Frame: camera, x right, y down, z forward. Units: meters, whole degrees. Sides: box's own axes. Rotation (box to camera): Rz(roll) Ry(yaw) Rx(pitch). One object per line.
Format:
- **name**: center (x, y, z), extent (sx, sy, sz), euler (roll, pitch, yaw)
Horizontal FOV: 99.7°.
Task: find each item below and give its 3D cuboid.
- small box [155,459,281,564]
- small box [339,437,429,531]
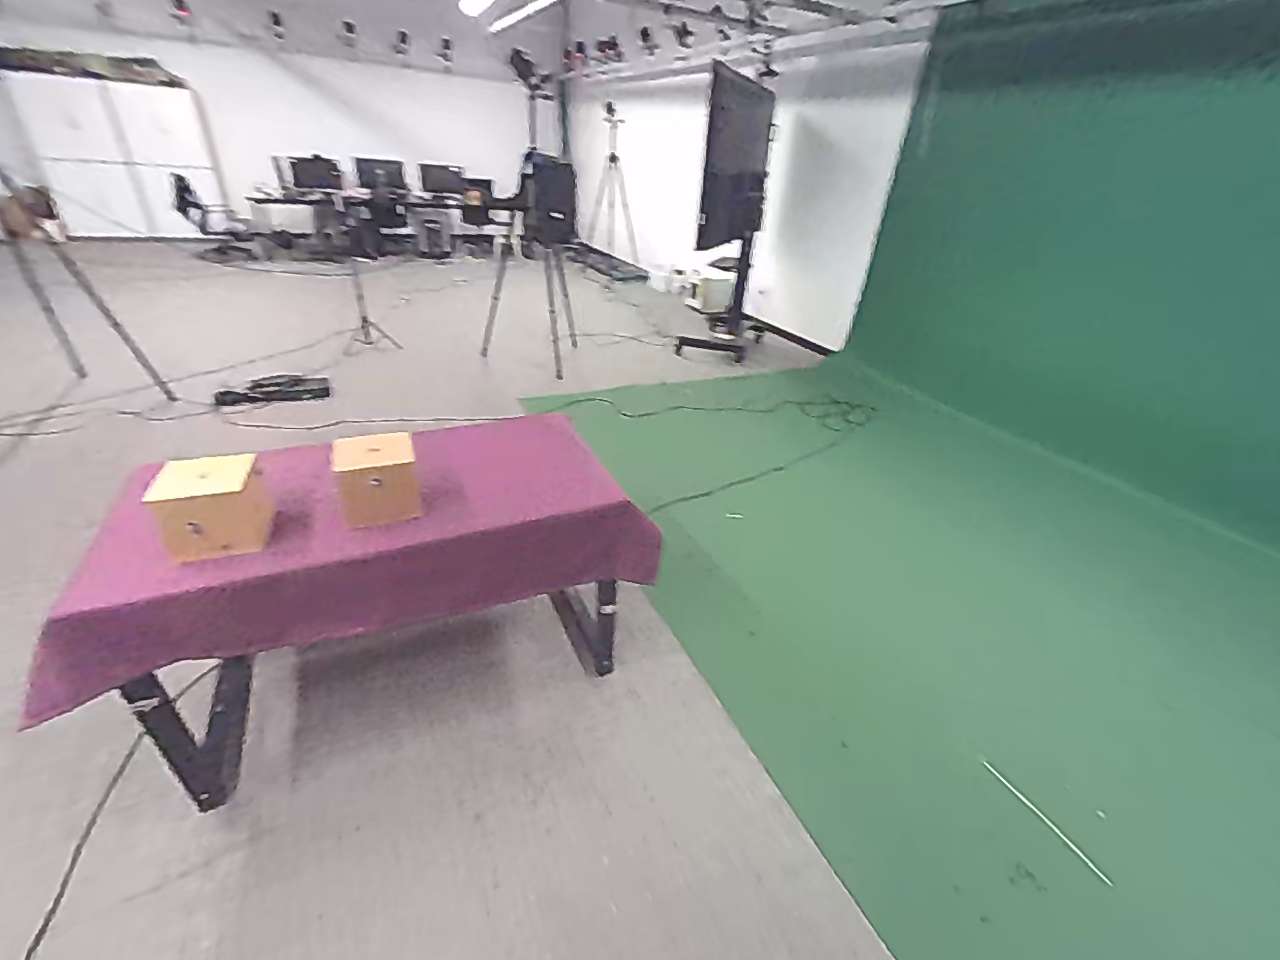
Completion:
- **small box**: center (-0.937, 0.073, 1.222), extent (0.168, 0.176, 0.179), euler (-9, 32, -20)
- **small box**: center (-0.639, 0.011, 1.359), extent (0.179, 0.176, 0.168), euler (-9, 33, -22)
